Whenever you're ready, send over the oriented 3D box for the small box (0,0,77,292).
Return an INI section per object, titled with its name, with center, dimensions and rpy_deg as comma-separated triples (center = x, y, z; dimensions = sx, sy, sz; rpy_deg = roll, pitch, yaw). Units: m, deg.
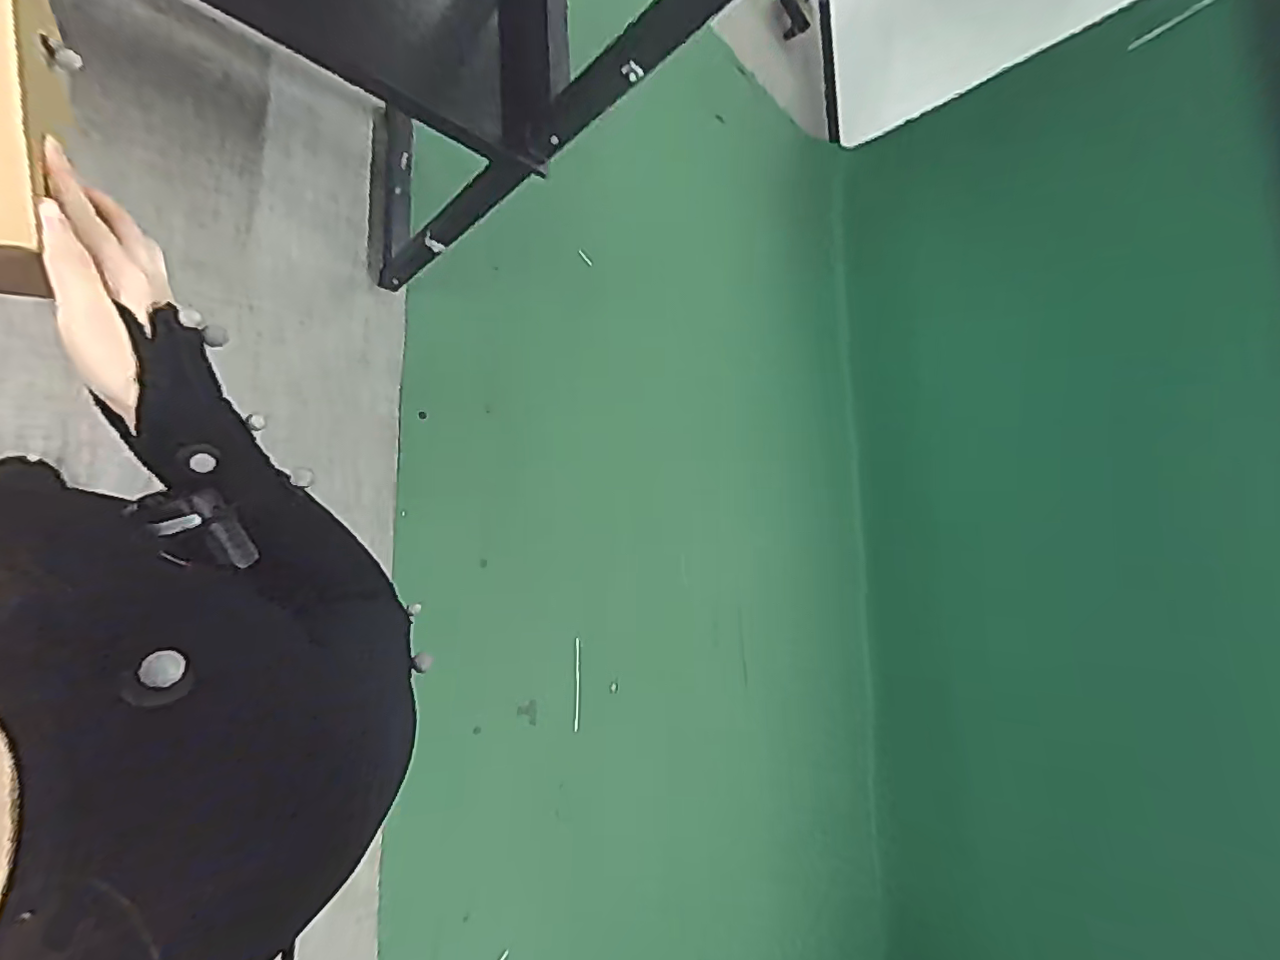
[small box]
center = -0.428, -0.211, 0.281
dimensions = 0.168, 0.176, 0.179
rpy_deg = -4, 99, -39
